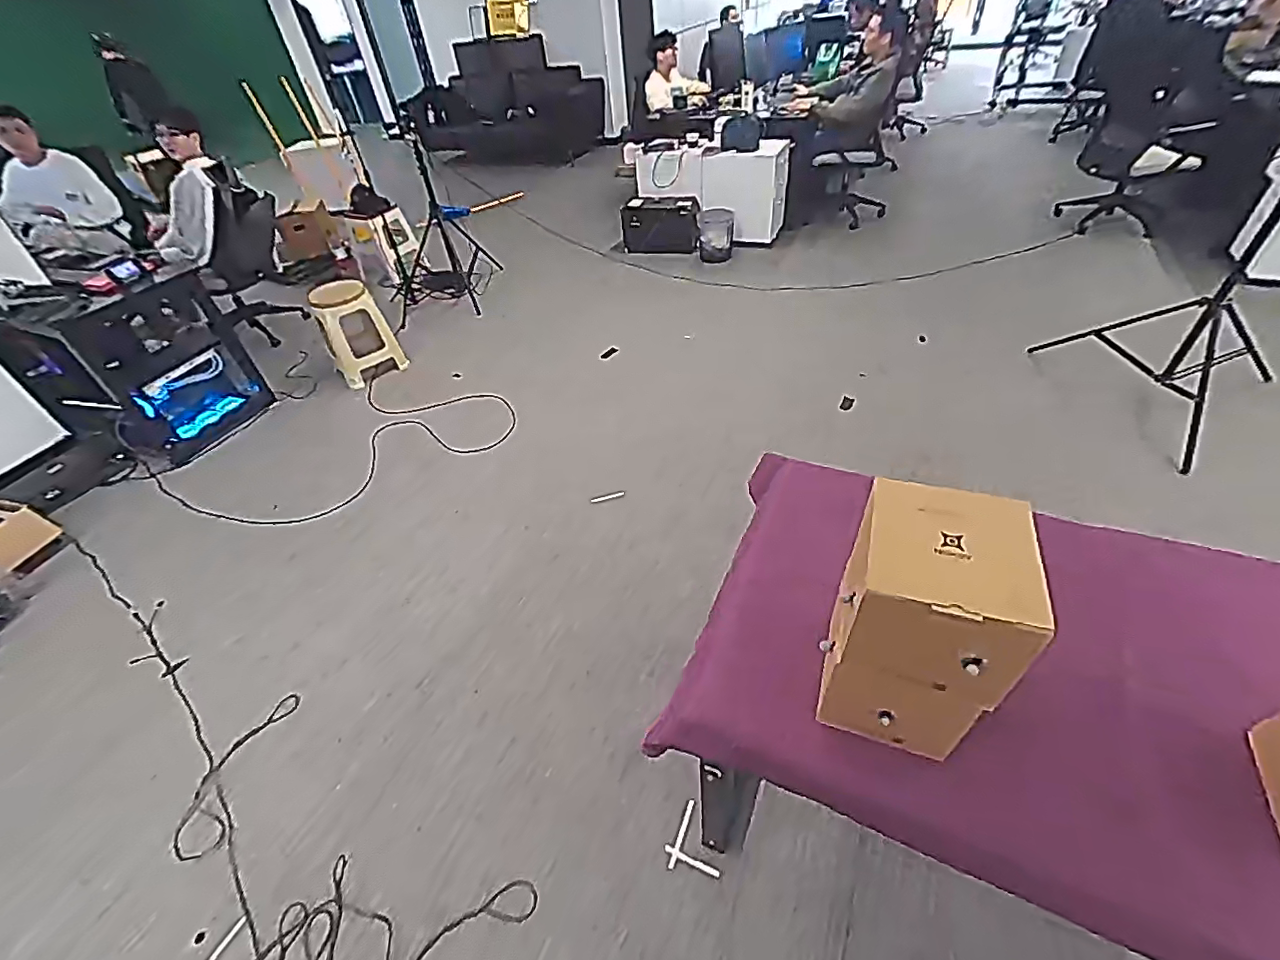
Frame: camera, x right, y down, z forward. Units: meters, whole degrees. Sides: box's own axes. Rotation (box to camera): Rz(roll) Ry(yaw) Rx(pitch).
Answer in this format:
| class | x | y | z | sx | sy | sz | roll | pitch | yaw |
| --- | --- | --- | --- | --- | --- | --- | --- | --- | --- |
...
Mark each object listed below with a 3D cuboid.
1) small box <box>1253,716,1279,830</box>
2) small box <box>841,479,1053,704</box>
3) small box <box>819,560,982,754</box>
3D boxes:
| class | x | y | z | sx | sy | sz | roll | pitch | yaw |
| --- | --- | --- | --- | --- | --- | --- | --- | --- | --- |
| small box | 0.829 | 0.348 | 0.573 | 0.168 | 0.176 | 0.179 | 14 | 46 | 22 |
| small box | 0.335 | 0.128 | 0.626 | 0.168 | 0.176 | 0.179 | 11 | 44 | 16 |
| small box | 0.349 | 0.241 | 0.741 | 0.168 | 0.176 | 0.179 | 12 | 45 | 18 |
